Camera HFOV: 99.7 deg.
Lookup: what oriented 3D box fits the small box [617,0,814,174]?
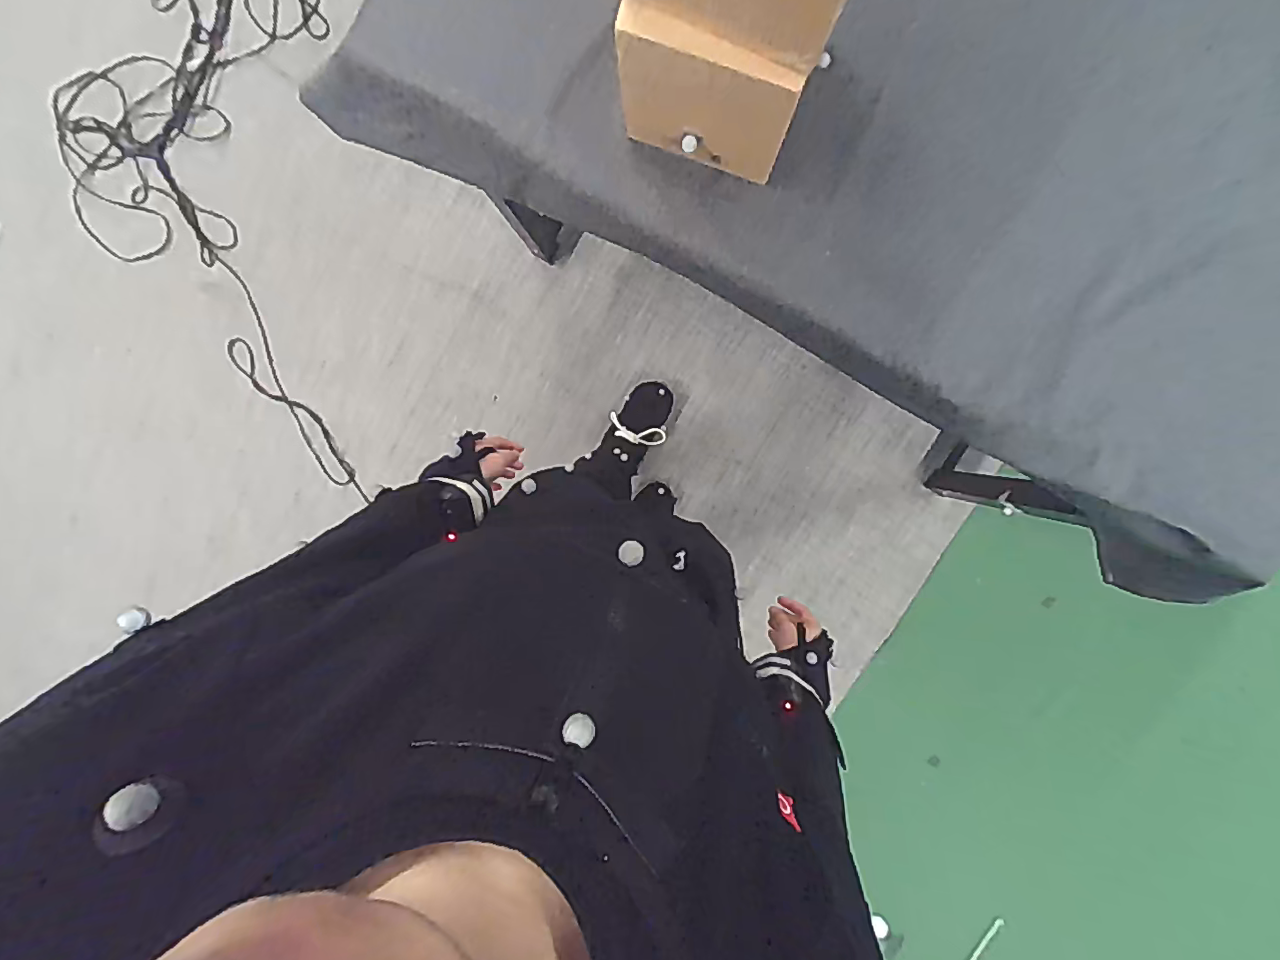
[{"bbox_3d":[0.087,-0.436,0.513,0.168,0.176,0.179,20,96,1],"label":"small box"}]

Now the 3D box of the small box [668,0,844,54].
[{"bbox_3d":[0.089,-0.434,0.350,0.179,0.176,0.168,24,97,0],"label":"small box"}]
